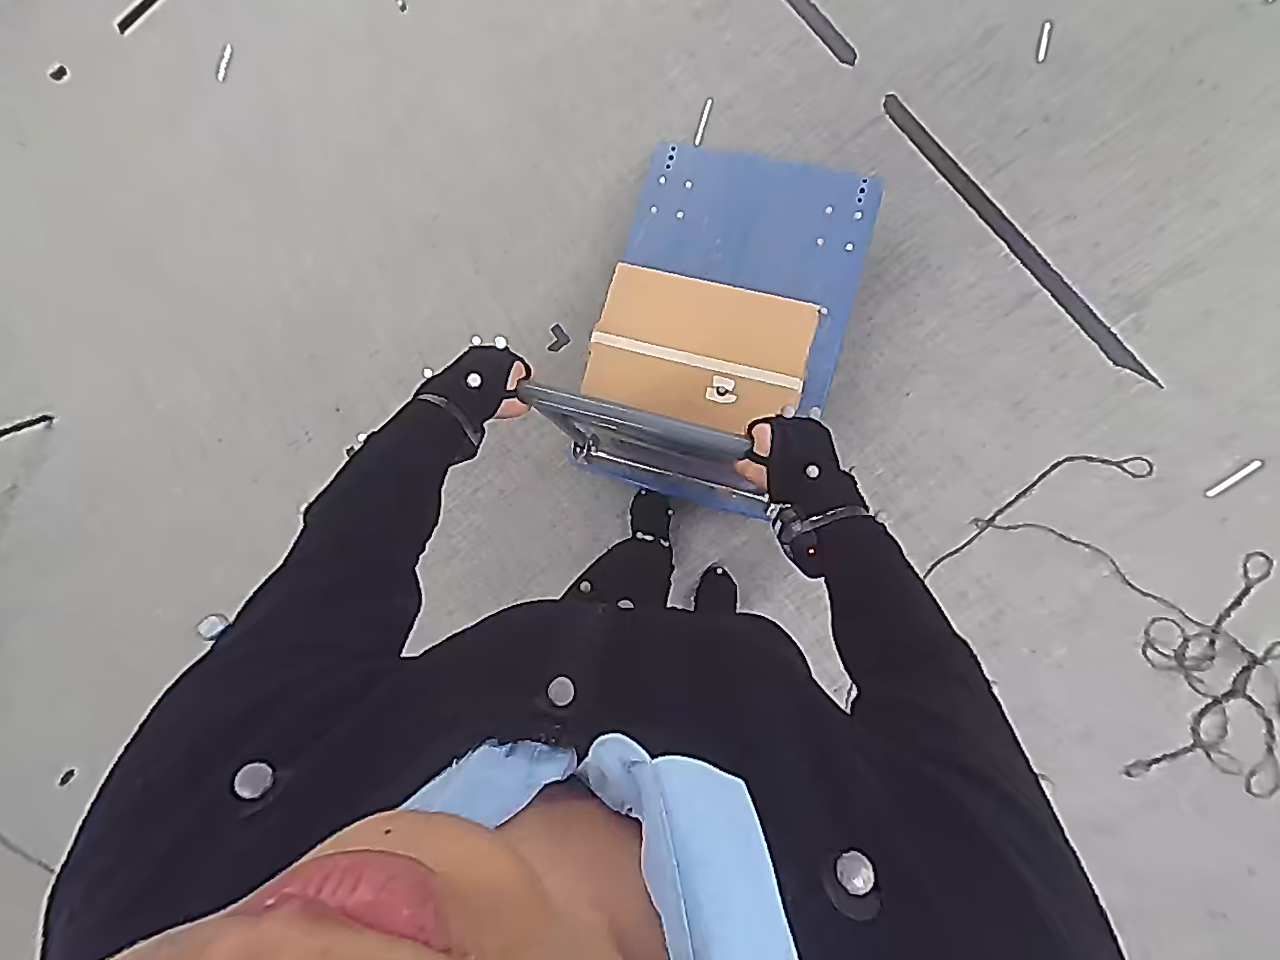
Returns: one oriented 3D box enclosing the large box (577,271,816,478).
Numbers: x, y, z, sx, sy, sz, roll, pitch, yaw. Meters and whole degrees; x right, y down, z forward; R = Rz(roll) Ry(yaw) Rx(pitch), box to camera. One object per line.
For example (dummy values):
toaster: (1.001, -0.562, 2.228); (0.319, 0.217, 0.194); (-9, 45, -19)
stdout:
large box: (0.120, -0.209, 1.183); (0.408, 0.320, 0.320); (16, 89, 8)
